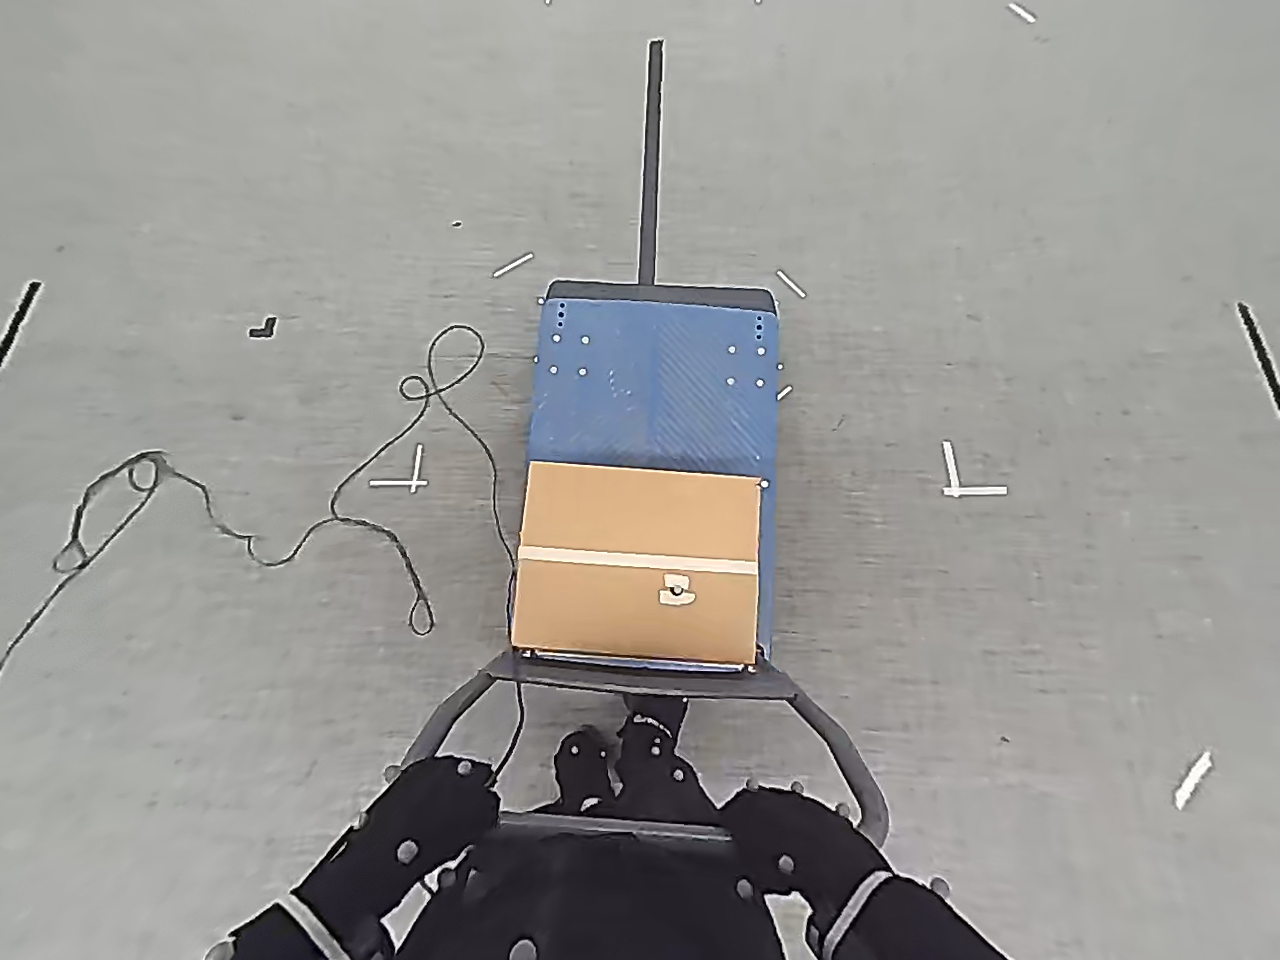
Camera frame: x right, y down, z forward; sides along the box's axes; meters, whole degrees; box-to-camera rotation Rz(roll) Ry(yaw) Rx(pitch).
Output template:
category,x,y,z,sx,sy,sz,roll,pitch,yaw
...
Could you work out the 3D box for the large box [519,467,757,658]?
category,x,y,z,sx,sy,sz,roll,pitch,yaw
large box,-0.003,0.167,1.081,0.408,0.320,0.320,4,80,-1
